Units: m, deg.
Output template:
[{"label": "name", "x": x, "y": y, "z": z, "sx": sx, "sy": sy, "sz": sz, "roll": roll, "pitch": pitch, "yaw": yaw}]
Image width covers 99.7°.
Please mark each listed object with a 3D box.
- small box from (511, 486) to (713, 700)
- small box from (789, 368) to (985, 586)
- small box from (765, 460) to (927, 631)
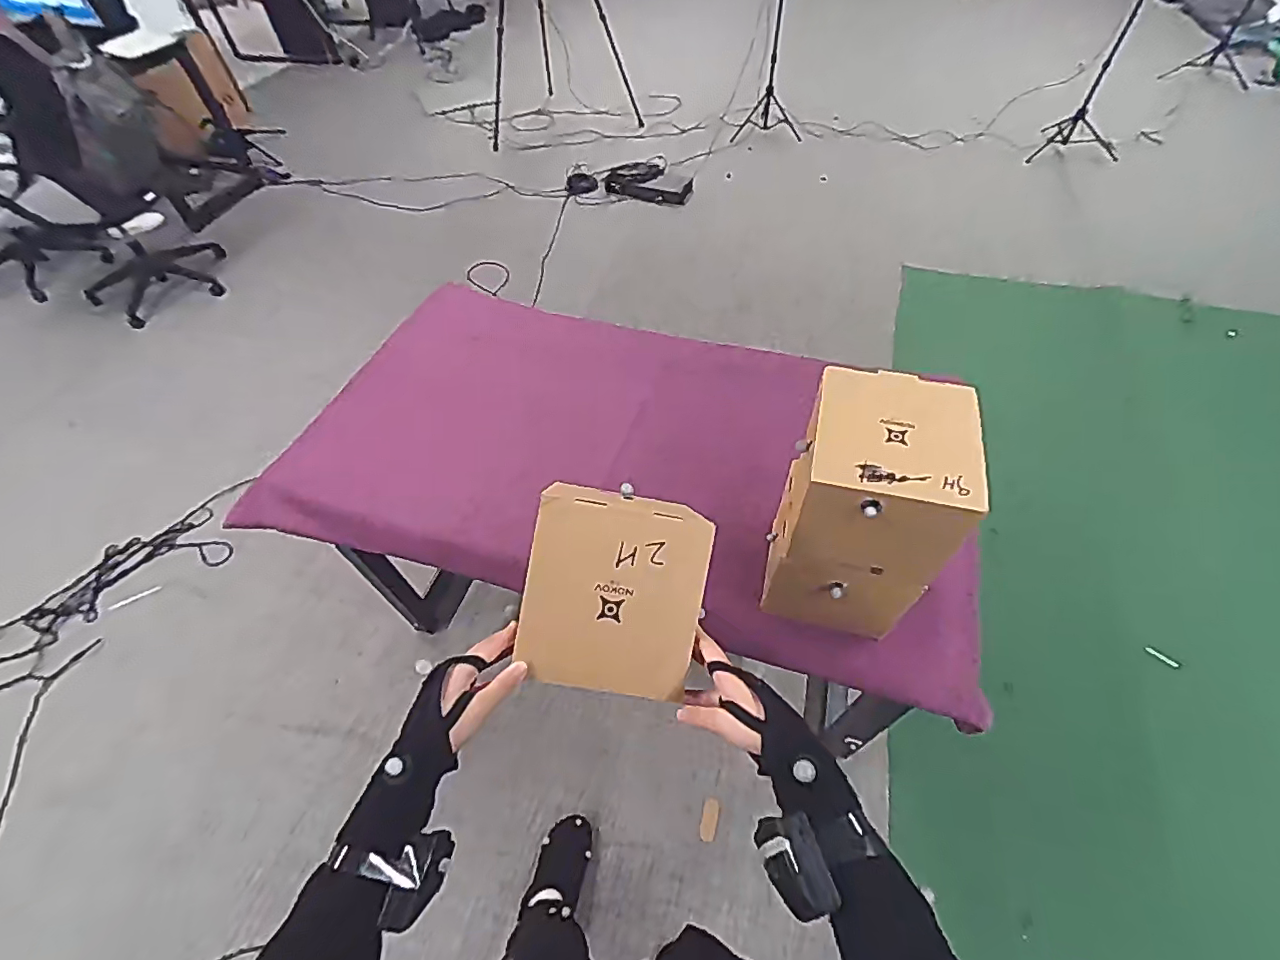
[{"label": "small box", "x": -0.031, "y": 0.108, "z": 0.586, "sx": 0.168, "sy": 0.176, "sz": 0.179, "roll": 10, "pitch": 91, "yaw": -5}, {"label": "small box", "x": 0.274, "y": -0.003, "z": 0.634, "sx": 0.168, "sy": 0.176, "sz": 0.179, "roll": 9, "pitch": 54, "yaw": 14}, {"label": "small box", "x": 0.283, "y": 0.097, "z": 0.764, "sx": 0.179, "sy": 0.176, "sz": 0.168, "roll": 9, "pitch": 55, "yaw": 13}]
